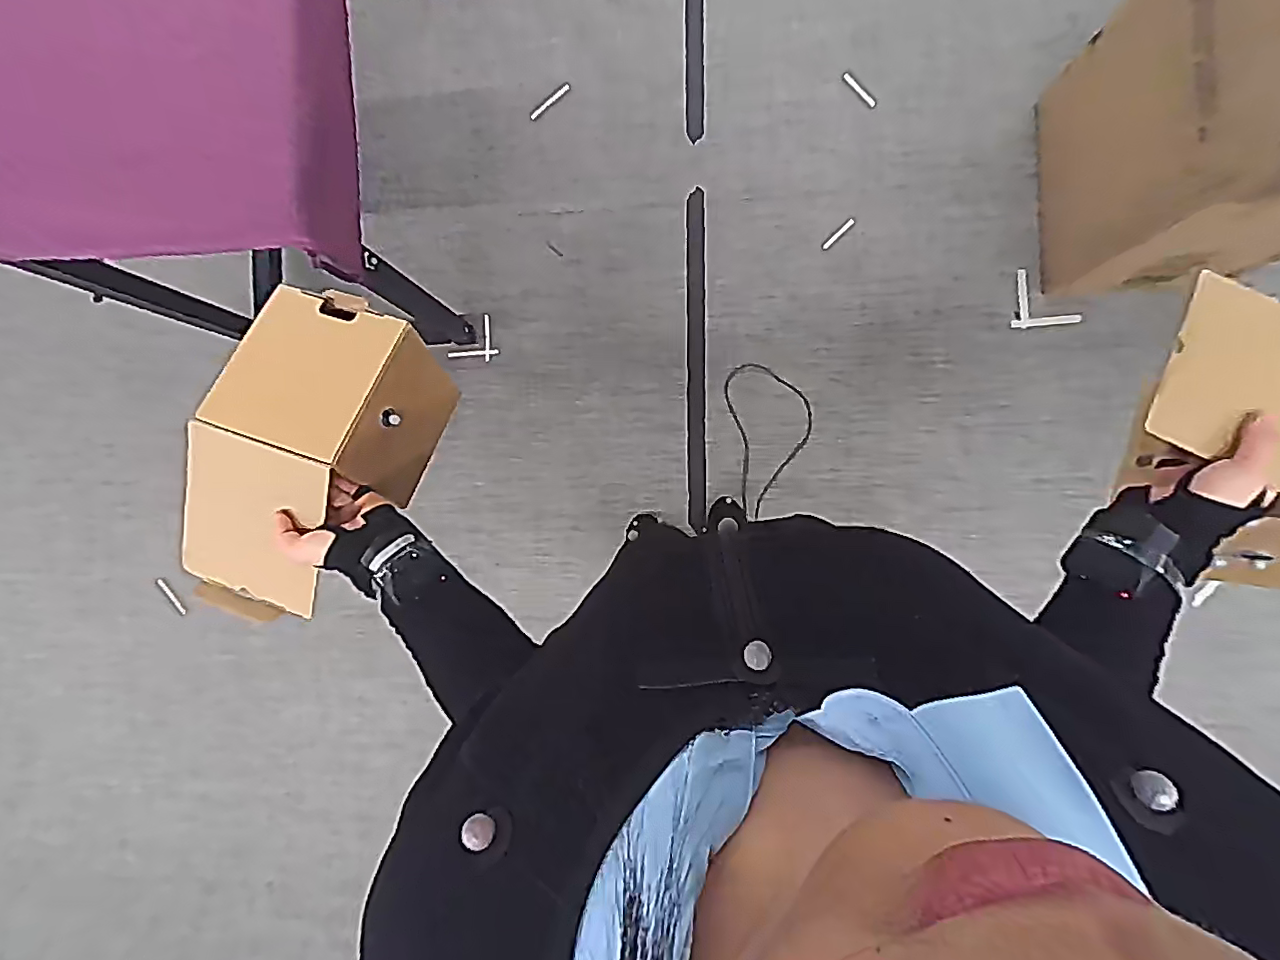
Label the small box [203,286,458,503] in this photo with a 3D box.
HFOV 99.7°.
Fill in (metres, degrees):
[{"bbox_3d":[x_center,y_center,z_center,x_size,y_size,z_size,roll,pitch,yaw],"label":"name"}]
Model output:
[{"bbox_3d":[-0.344,-0.090,0.644,0.168,0.176,0.179,18,73,7],"label":"small box"}]
